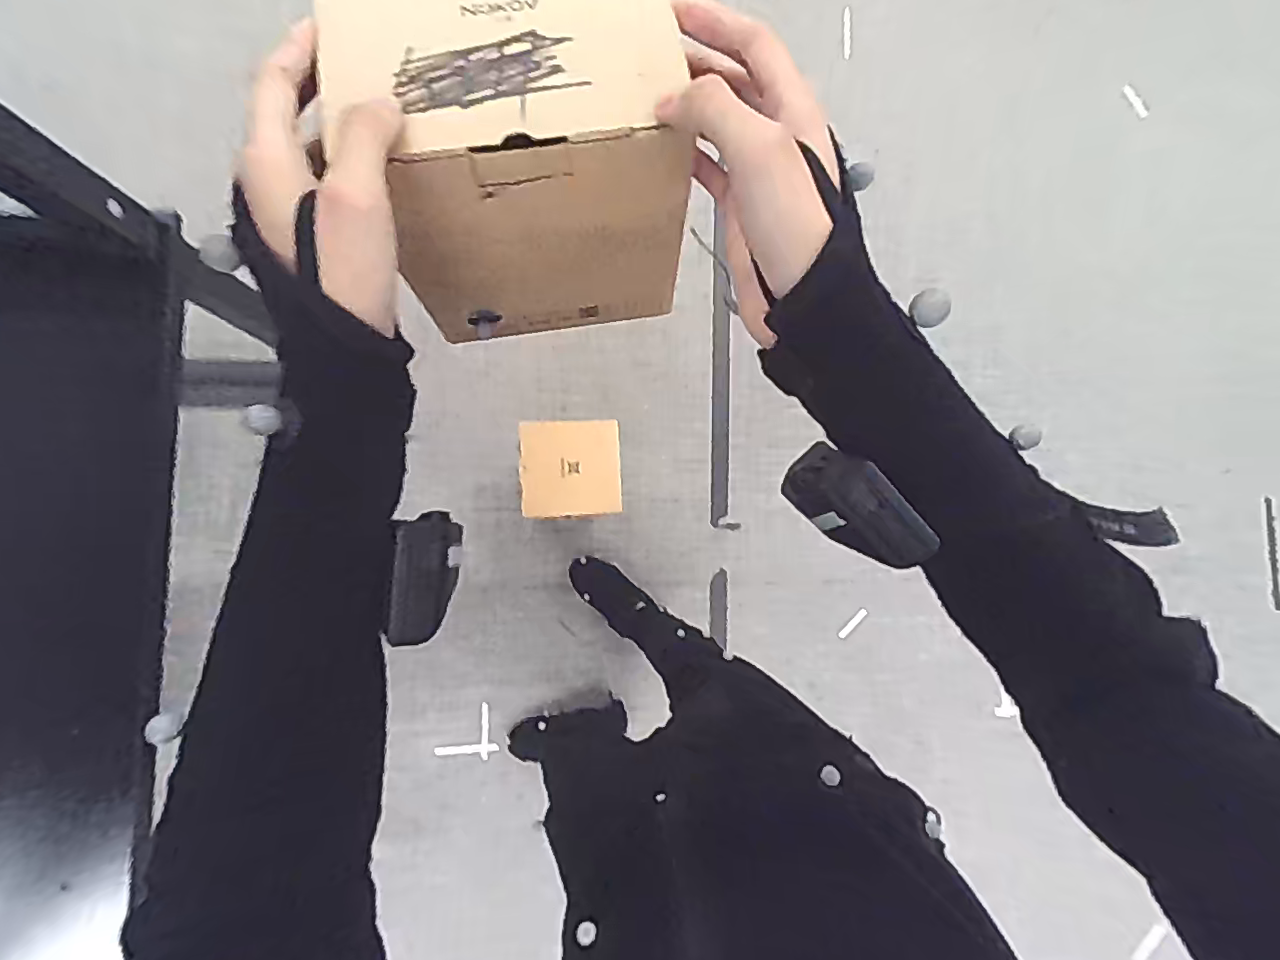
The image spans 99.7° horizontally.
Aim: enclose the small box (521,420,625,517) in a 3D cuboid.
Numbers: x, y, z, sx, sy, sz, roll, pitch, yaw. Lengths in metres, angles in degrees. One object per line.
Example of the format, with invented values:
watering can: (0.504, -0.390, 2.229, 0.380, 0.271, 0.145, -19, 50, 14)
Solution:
small box: (-0.128, -0.019, 1.013, 0.179, 0.176, 0.168, -3, 87, -8)
